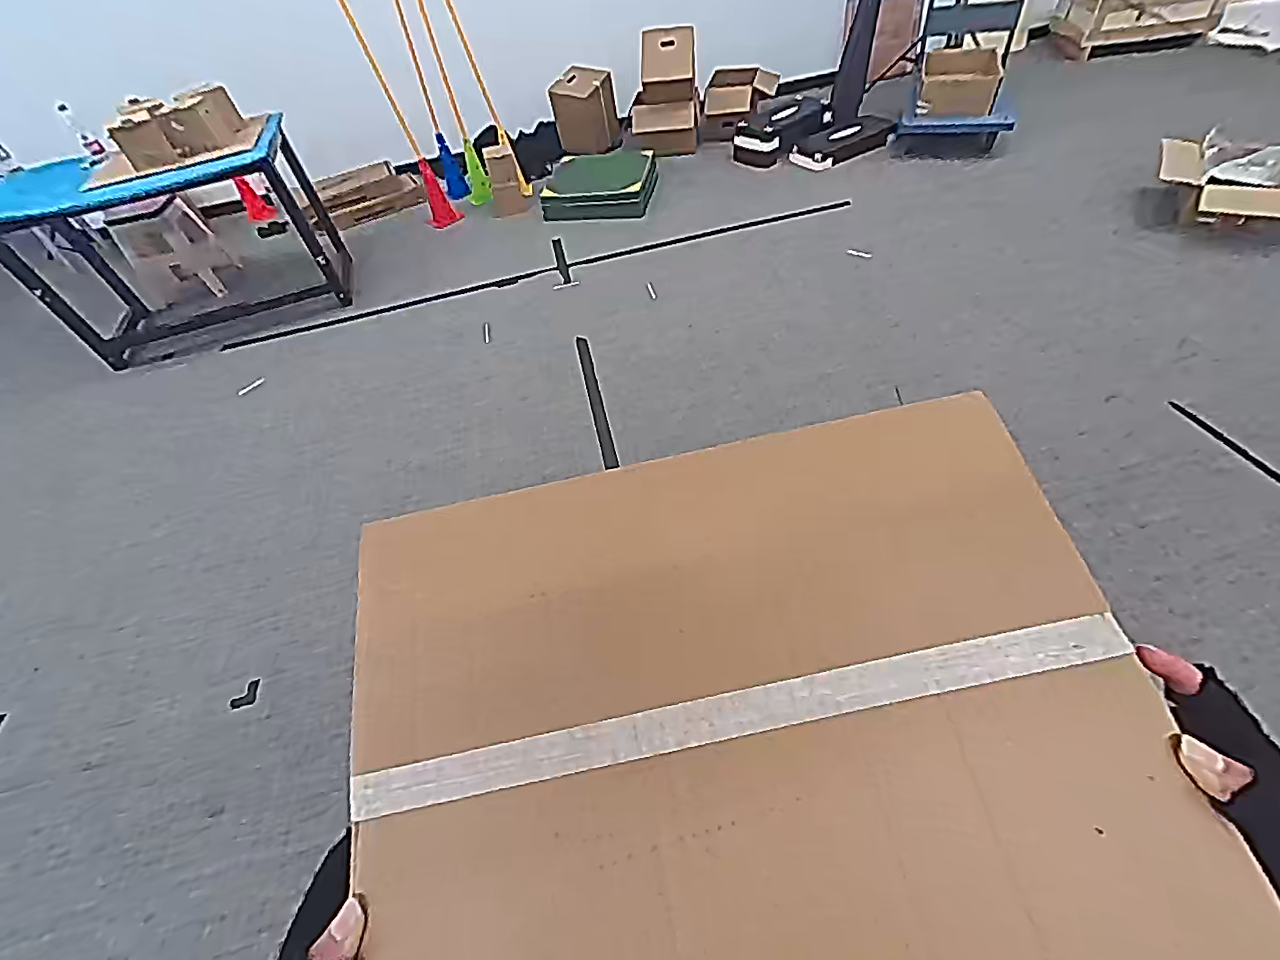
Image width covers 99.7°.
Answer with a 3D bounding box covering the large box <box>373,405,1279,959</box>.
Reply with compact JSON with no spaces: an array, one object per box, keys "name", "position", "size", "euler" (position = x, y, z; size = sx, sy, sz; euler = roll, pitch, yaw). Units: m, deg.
[{"name":"large box","position":[0.066,0.192,0.423],"size":[0.408,0.320,0.320],"euler":[-13,65,1]}]
